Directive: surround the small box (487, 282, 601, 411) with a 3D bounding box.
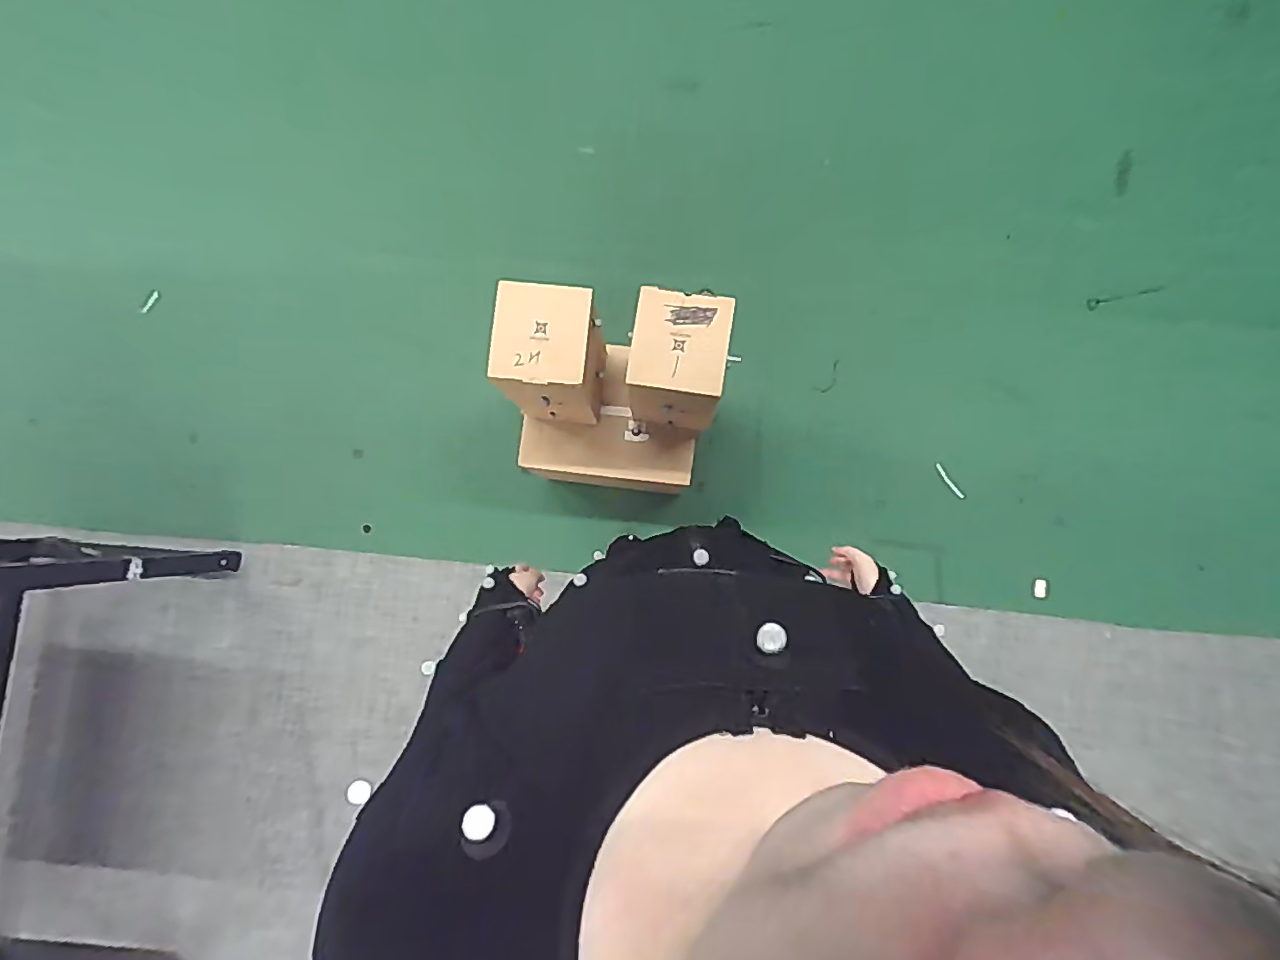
[{"bbox_3d":[-0.166,-0.237,0.992,0.168,0.176,0.179,6,85,2],"label":"small box"}]

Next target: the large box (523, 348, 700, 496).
[{"bbox_3d":[-0.057,-0.138,1.389,0.408,0.320,0.320,6,85,2],"label":"large box"}]

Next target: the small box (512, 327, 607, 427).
[{"bbox_3d":[-0.164,-0.224,1.157,0.168,0.176,0.179,7,84,2],"label":"small box"}]

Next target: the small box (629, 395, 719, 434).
[{"bbox_3d":[0.083,-0.201,1.146,0.179,0.176,0.168,11,84,4],"label":"small box"}]

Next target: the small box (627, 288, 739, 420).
[{"bbox_3d":[0.075,-0.219,0.980,0.168,0.176,0.179,9,85,4],"label":"small box"}]
